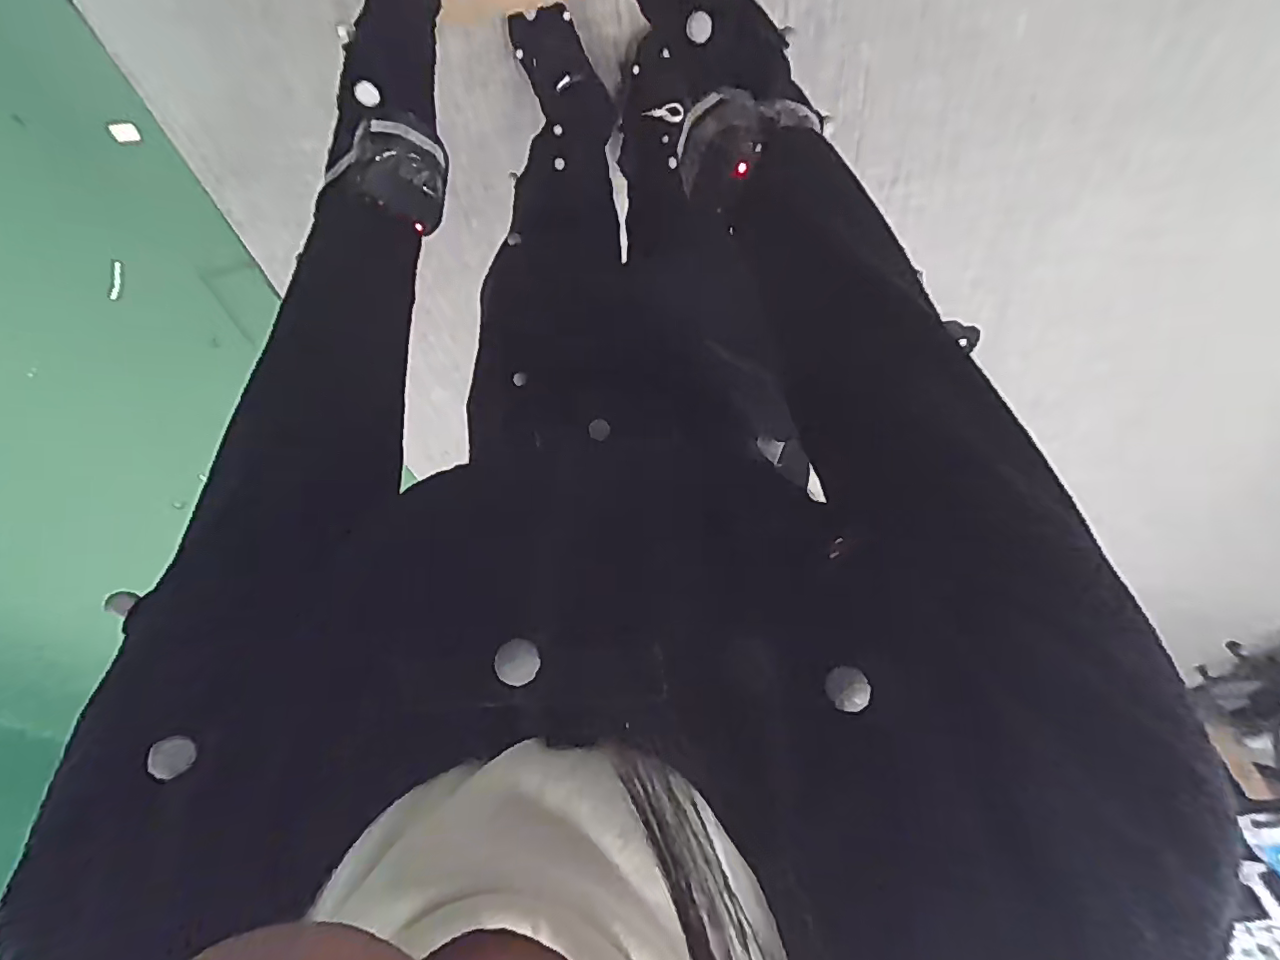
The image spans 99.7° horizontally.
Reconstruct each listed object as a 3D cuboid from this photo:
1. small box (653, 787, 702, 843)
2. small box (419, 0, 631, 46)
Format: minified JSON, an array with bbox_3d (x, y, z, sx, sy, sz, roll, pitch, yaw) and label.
[{"bbox_3d":[0.155,1.375,2.221,0.179,0.176,0.168,-8,138,7],"label":"small box"},{"bbox_3d":[-0.107,-0.495,0.445,0.179,0.176,0.168,-8,139,7],"label":"small box"}]
